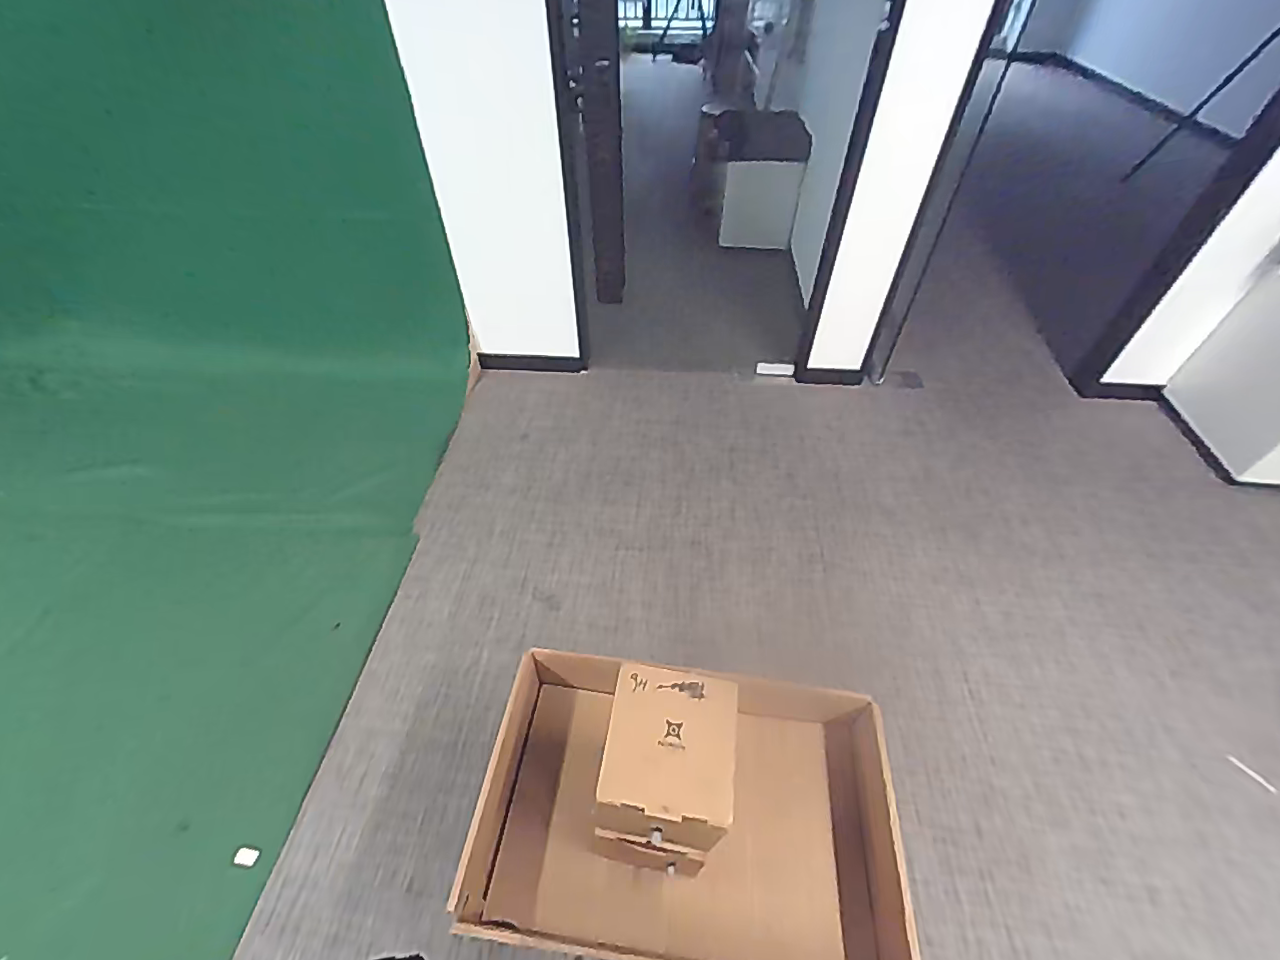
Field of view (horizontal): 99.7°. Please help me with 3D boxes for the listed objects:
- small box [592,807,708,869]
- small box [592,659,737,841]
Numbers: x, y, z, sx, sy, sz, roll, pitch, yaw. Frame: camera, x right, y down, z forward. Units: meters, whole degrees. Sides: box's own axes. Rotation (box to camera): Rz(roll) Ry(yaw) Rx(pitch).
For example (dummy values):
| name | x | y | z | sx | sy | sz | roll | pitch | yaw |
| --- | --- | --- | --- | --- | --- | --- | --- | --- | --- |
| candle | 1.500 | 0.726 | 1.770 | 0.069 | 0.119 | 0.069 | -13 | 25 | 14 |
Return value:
| name | x | y | z | sx | sy | sz | roll | pitch | yaw |
| --- | --- | --- | --- | --- | --- | --- | --- | --- | --- |
| small box | 0.025 | 0.495 | 0.864 | 0.168 | 0.176 | 0.179 | 10 | 46 | 4 |
| small box | 0.035 | 0.378 | 0.750 | 0.168 | 0.176 | 0.179 | 10 | 49 | 4 |
